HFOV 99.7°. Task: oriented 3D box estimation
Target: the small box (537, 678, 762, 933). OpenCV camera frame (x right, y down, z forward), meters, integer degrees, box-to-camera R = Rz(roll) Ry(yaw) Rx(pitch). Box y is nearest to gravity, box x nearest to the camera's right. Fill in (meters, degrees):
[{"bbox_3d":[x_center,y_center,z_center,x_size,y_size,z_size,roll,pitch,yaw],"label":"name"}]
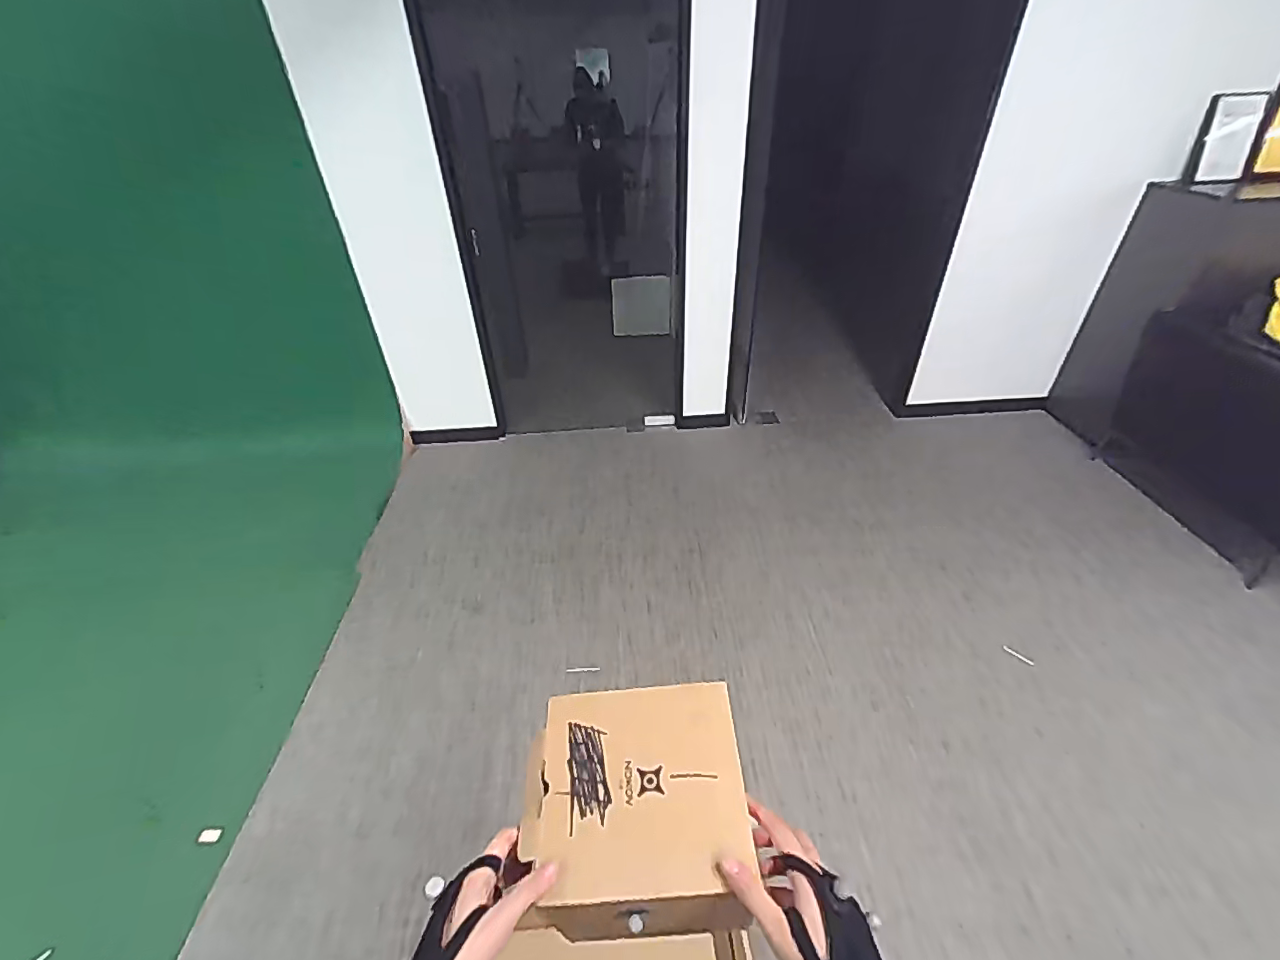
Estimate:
[{"bbox_3d":[0.013,0.313,0.518,0.179,0.176,0.168,-6,43,2],"label":"small box"}]
